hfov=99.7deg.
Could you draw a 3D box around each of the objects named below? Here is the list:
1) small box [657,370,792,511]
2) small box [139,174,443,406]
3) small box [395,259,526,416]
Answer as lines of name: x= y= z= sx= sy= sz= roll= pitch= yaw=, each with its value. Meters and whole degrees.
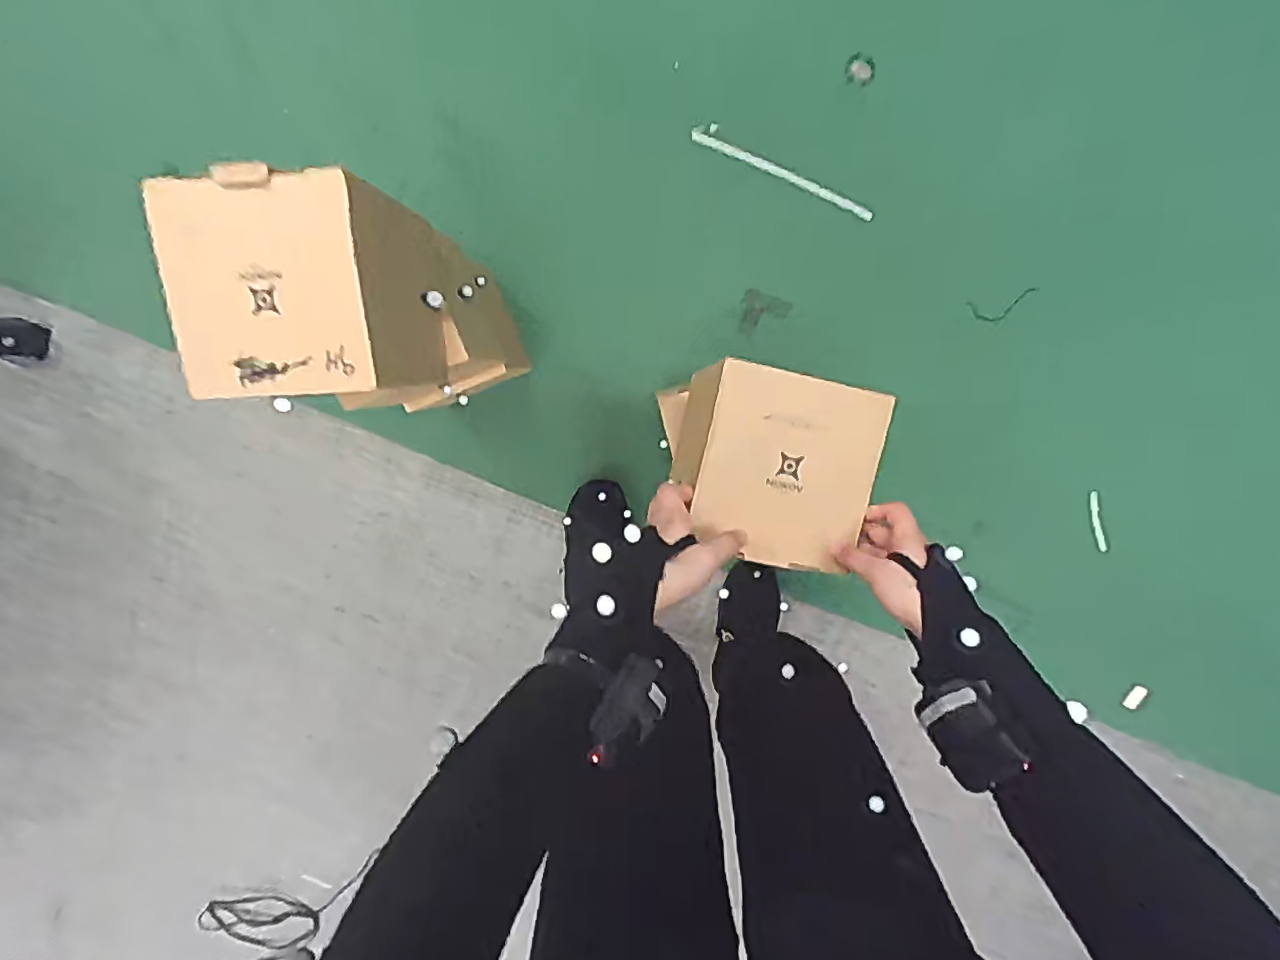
small box: x=0.125 y=-0.070 z=0.860 sx=0.168 sy=0.176 sz=0.179 roll=-15 pitch=102 yaw=5
small box: x=-0.305 y=-0.166 z=0.515 sx=0.168 sy=0.176 sz=0.179 roll=-2 pitch=102 yaw=3
small box: x=-0.296 y=-0.216 z=0.841 sx=0.168 sy=0.176 sz=0.179 roll=-21 pitch=101 yaw=6
